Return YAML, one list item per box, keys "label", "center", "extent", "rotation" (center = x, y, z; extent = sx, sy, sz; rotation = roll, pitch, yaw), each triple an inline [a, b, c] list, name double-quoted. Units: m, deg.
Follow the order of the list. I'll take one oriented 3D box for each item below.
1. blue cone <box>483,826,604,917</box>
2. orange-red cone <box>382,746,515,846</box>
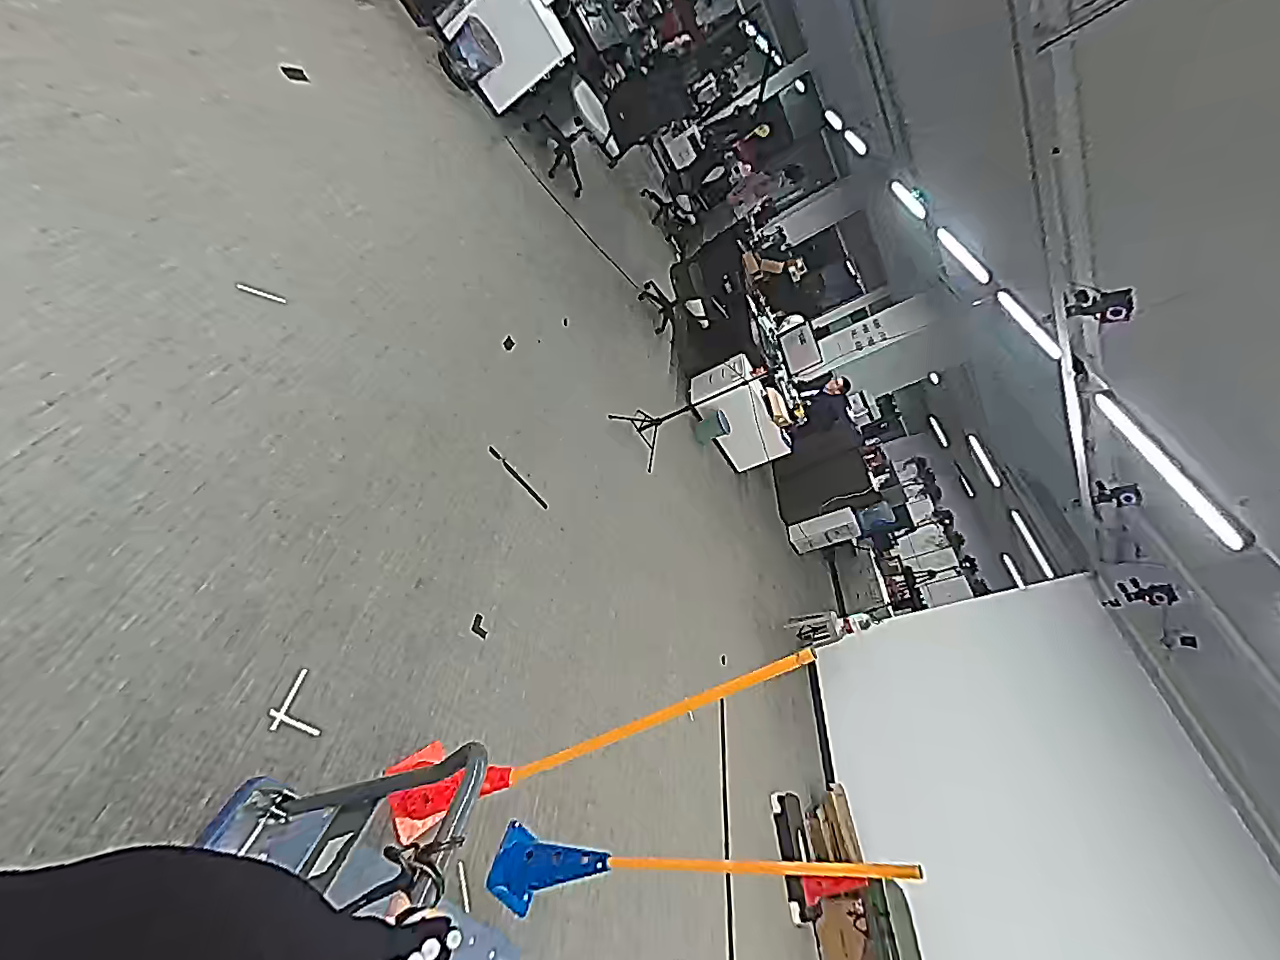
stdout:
- label: "blue cone"
  center: [-0.260, 1.158, 1.611]
  extent: [0.192, 0.380, 0.193]
  rotation: [58, 26, -19]
- label: "orange-red cone"
  center: [-0.473, 0.814, 1.429]
  extent: [0.198, 0.360, 0.199]
  rotation: [-1, 72, -64]
